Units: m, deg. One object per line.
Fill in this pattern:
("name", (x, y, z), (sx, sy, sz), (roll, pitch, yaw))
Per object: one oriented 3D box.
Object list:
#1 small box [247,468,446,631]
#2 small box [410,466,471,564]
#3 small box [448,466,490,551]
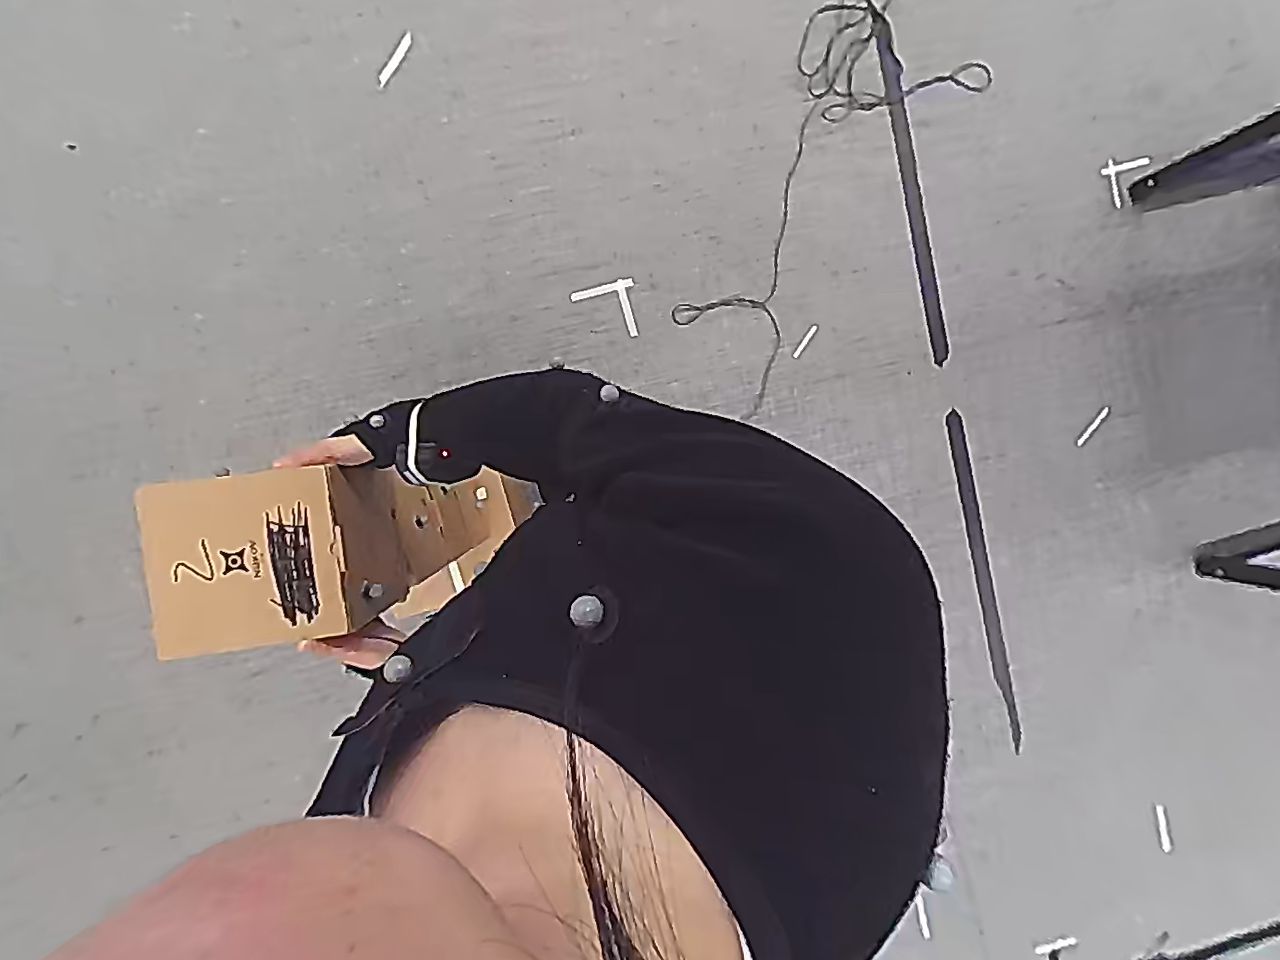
("small box", (-0.396, 0.086, 0.773), (0.179, 0.176, 0.168), (-22, 93, -4))
("small box", (-0.408, 0.074, 0.937), (0.179, 0.176, 0.168), (-18, 93, -3))
("small box", (-0.425, 0.073, 1.098), (0.179, 0.176, 0.168), (-17, 94, -4))
